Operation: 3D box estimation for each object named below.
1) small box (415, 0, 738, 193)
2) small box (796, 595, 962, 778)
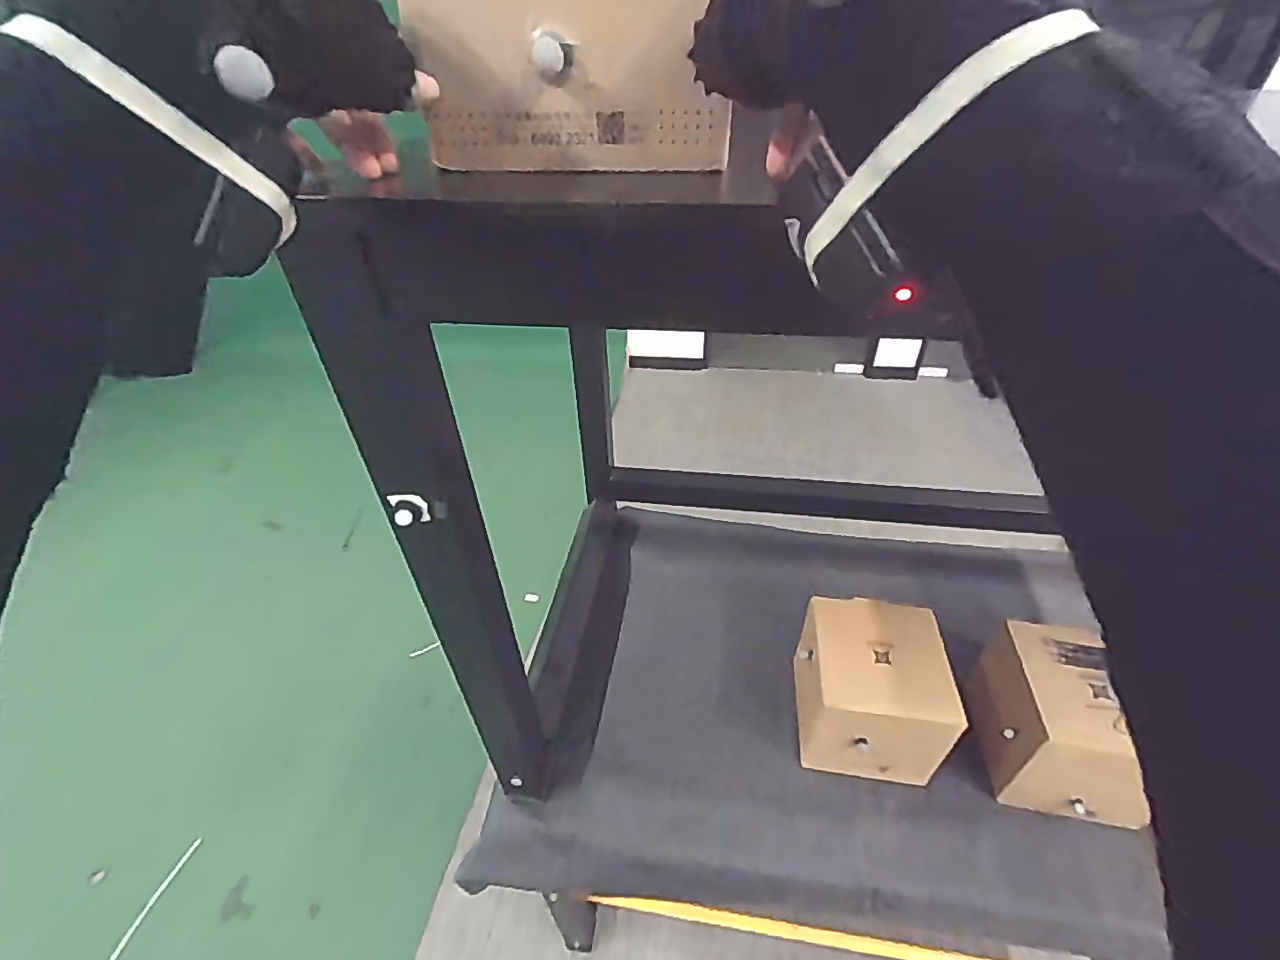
[{"bbox_3d":[-0.026,-0.281,0.318,0.168,0.176,0.179,3,39,7],"label":"small box"},{"bbox_3d":[0.318,0.290,0.761,0.168,0.176,0.179,5,38,8],"label":"small box"}]
